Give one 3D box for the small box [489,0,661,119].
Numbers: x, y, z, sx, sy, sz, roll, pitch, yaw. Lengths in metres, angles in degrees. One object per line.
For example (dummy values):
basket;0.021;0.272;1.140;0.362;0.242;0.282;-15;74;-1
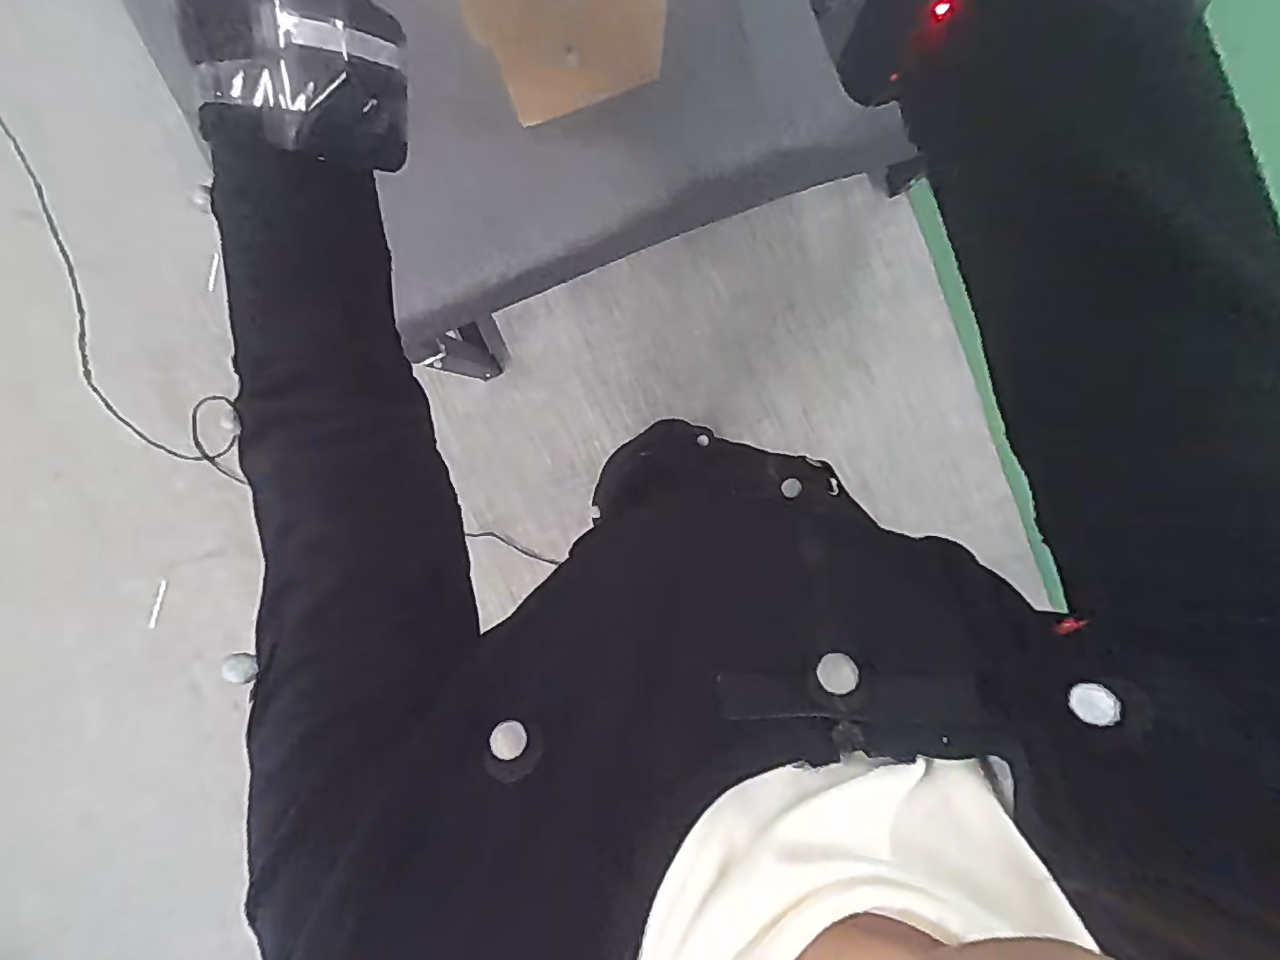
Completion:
small box;-0.081;-0.518;0.556;0.179;0.176;0.168;-19;96;3
